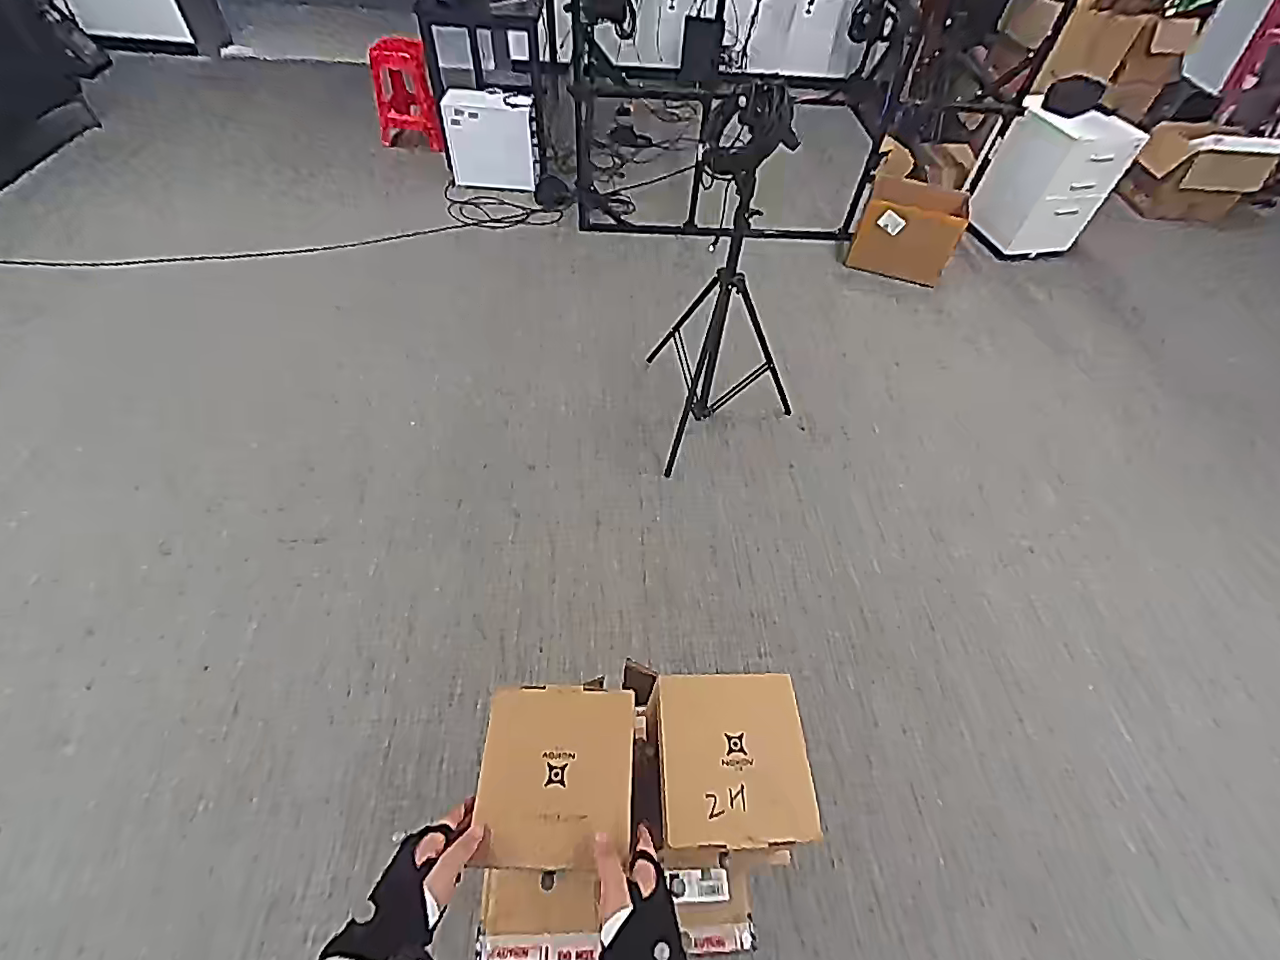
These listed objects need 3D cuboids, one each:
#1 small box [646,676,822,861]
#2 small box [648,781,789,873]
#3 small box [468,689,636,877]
[{"bbox_3d":[0.098,0.356,0.666,0.168,0.176,0.179,1,53,-5],"label":"small box"},{"bbox_3d":[0.102,0.465,0.791,0.168,0.176,0.179,3,54,-4],"label":"small box"},{"bbox_3d":[-0.090,0.364,0.646,0.168,0.176,0.179,1,55,0],"label":"small box"}]
